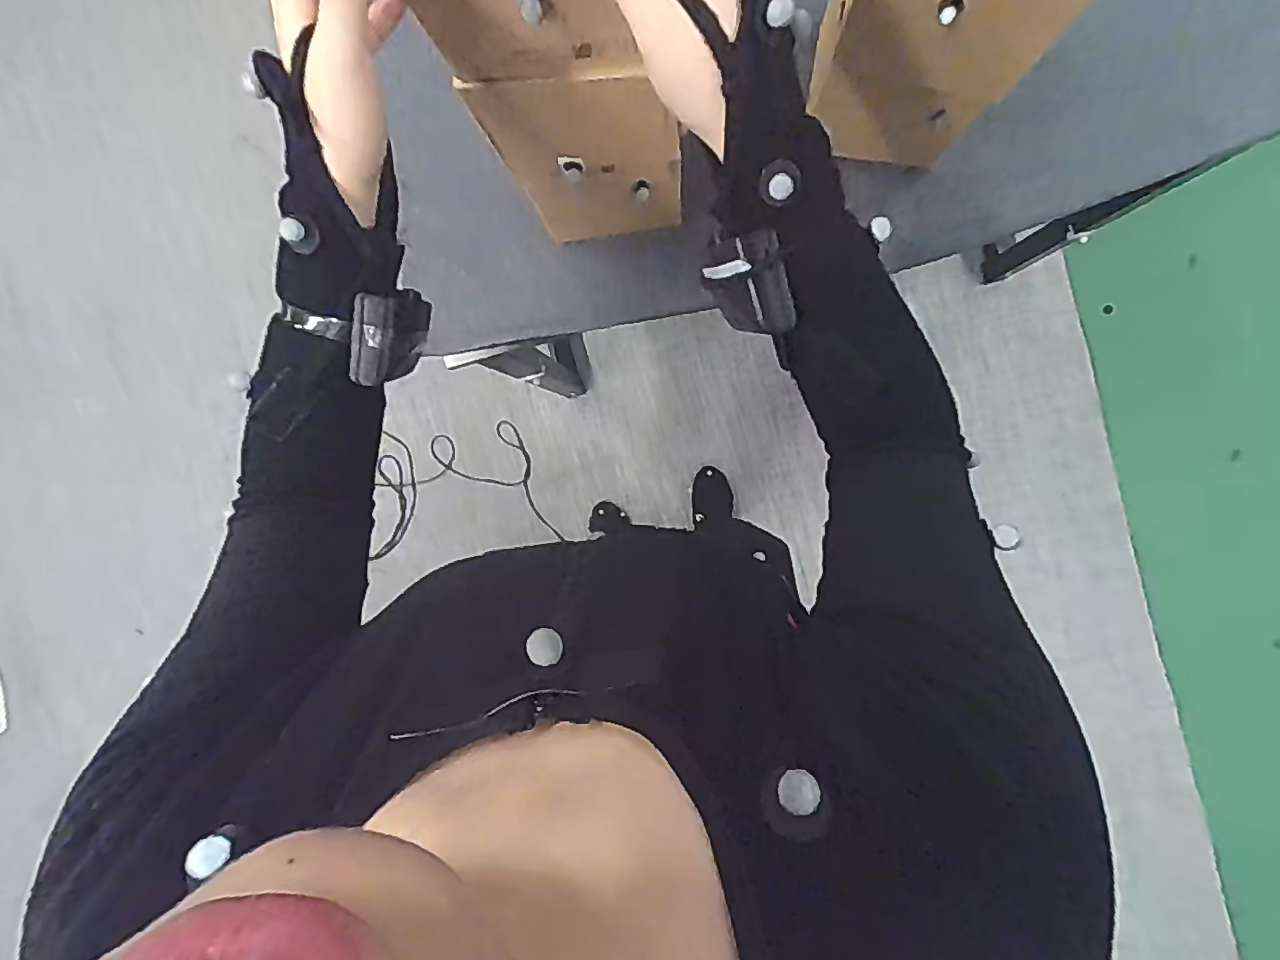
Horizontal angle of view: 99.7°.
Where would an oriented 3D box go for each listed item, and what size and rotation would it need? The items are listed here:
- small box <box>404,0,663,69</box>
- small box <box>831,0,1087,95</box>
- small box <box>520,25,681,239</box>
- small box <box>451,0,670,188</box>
[{"bbox_3d":[-0.074,-0.387,0.327,0.168,0.176,0.179,-2,97,5],"label":"small box"},{"bbox_3d":[0.288,-0.469,0.454,0.179,0.176,0.168,17,94,4],"label":"small box"},{"bbox_3d":[-0.045,-0.412,0.652,0.179,0.176,0.168,-6,93,6],"label":"small box"},{"bbox_3d":[-0.060,-0.396,0.491,0.168,0.176,0.179,-1,95,6],"label":"small box"}]
